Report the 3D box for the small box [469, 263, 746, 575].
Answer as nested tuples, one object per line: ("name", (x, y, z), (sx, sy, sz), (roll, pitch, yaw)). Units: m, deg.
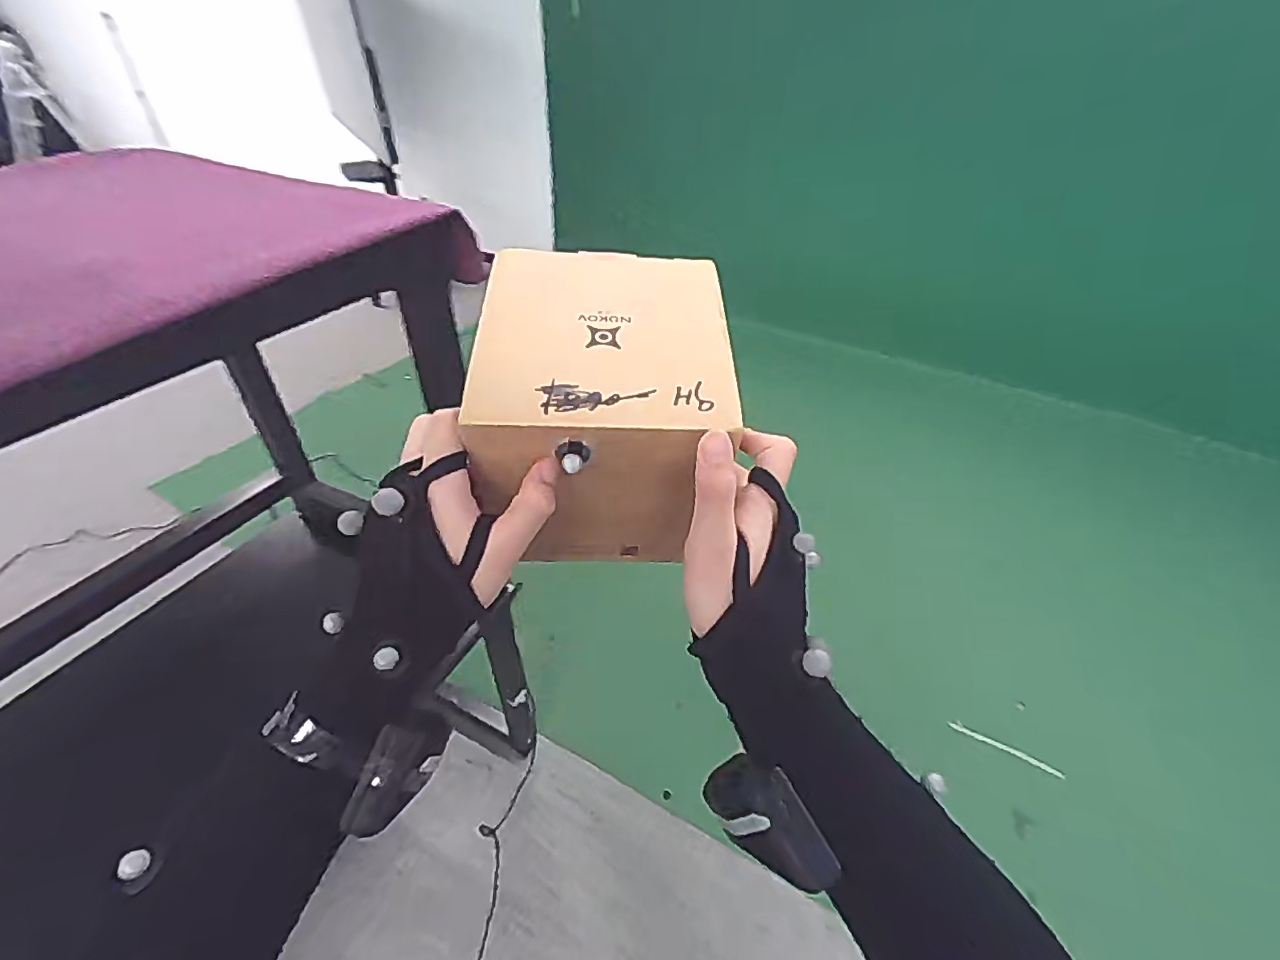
("small box", (-0.023, -0.043, 0.427), (0.168, 0.176, 0.179), (2, 54, -3))
